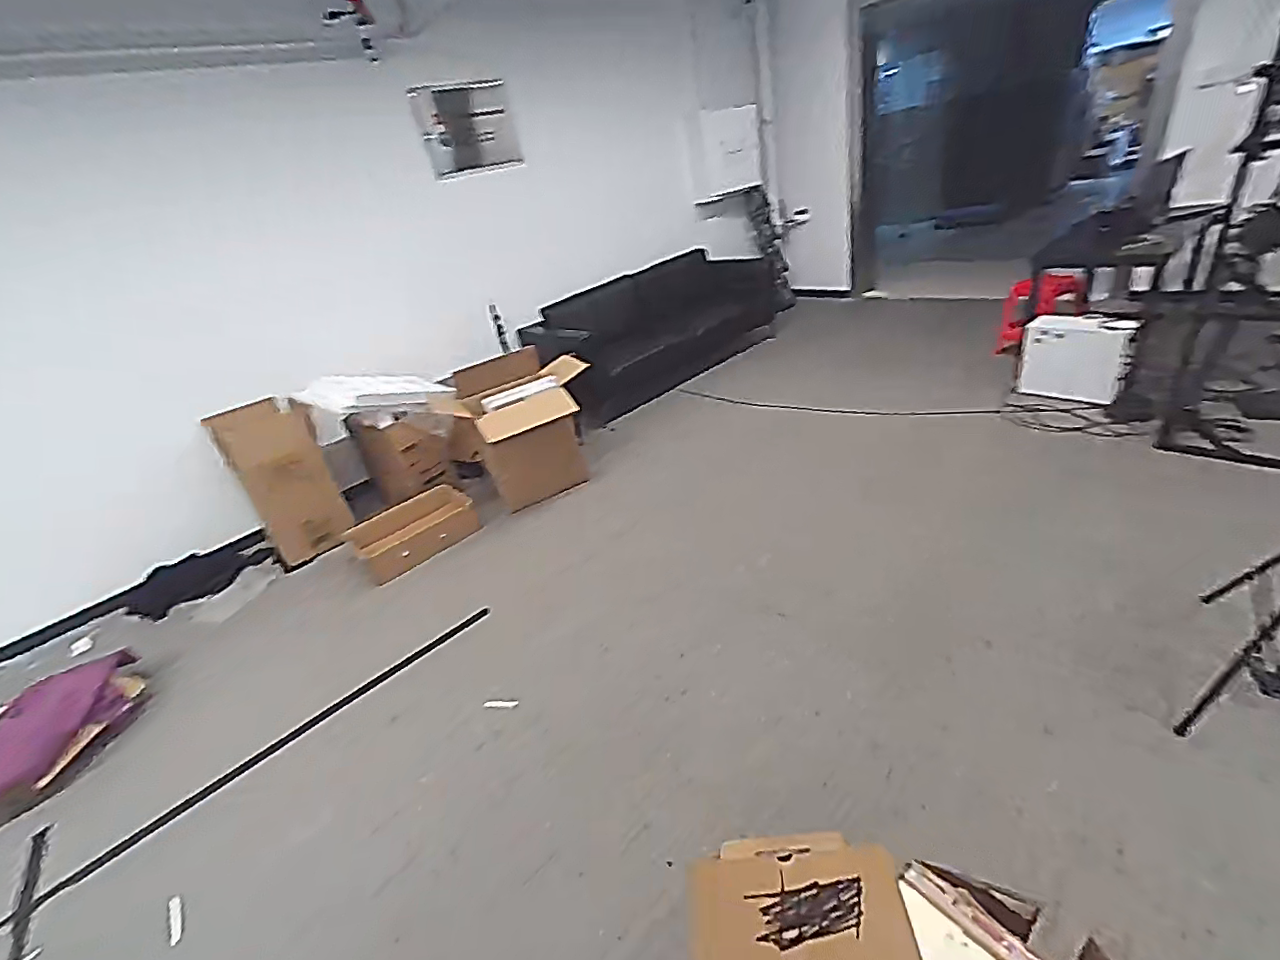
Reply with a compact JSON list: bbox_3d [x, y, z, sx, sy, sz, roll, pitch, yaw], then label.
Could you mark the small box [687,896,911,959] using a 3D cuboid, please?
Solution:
[{"bbox_3d":[0.132,0.452,0.415,0.168,0.176,0.179,-10,41,5],"label":"small box"}]
